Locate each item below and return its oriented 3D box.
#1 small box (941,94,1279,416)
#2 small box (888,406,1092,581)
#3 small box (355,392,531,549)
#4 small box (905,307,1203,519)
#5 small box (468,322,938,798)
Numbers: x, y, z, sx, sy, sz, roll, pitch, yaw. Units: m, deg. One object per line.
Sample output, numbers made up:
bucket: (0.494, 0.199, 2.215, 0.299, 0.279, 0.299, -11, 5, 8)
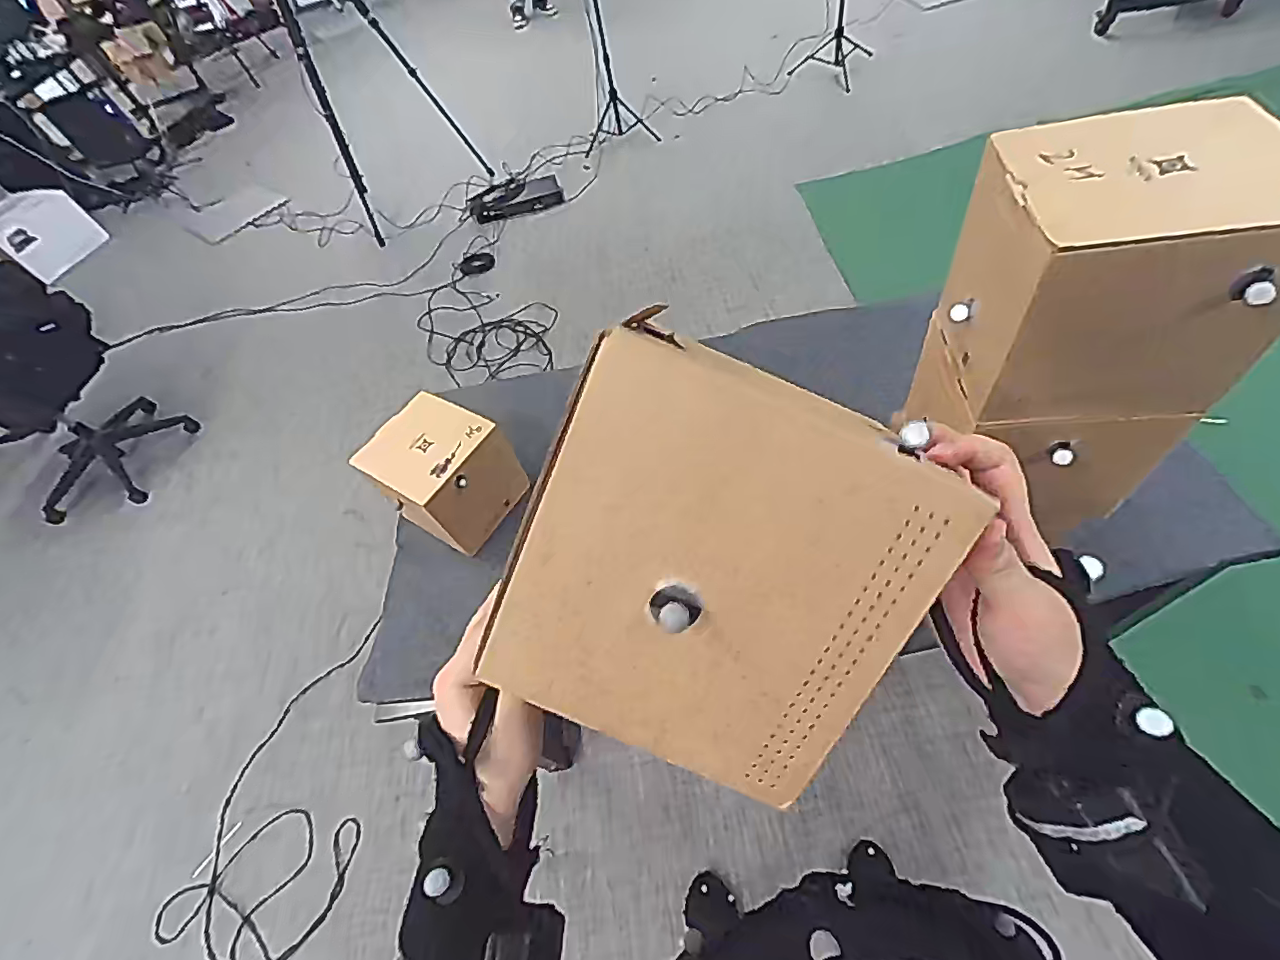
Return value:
small box: (0.370, -0.167, 0.435, 0.179, 0.176, 0.168, -2, 54, 14)
small box: (0.429, 0.009, 0.704, 0.168, 0.176, 0.179, -12, 54, 6)
small box: (-0.313, -0.011, 0.891, 0.179, 0.176, 0.168, 24, 65, 26)
small box: (0.399, -0.071, 0.566, 0.179, 0.176, 0.168, -3, 54, 13)
small box: (0.034, 0.030, 0.306, 0.176, 0.179, 0.168, 23, 21, 0)
